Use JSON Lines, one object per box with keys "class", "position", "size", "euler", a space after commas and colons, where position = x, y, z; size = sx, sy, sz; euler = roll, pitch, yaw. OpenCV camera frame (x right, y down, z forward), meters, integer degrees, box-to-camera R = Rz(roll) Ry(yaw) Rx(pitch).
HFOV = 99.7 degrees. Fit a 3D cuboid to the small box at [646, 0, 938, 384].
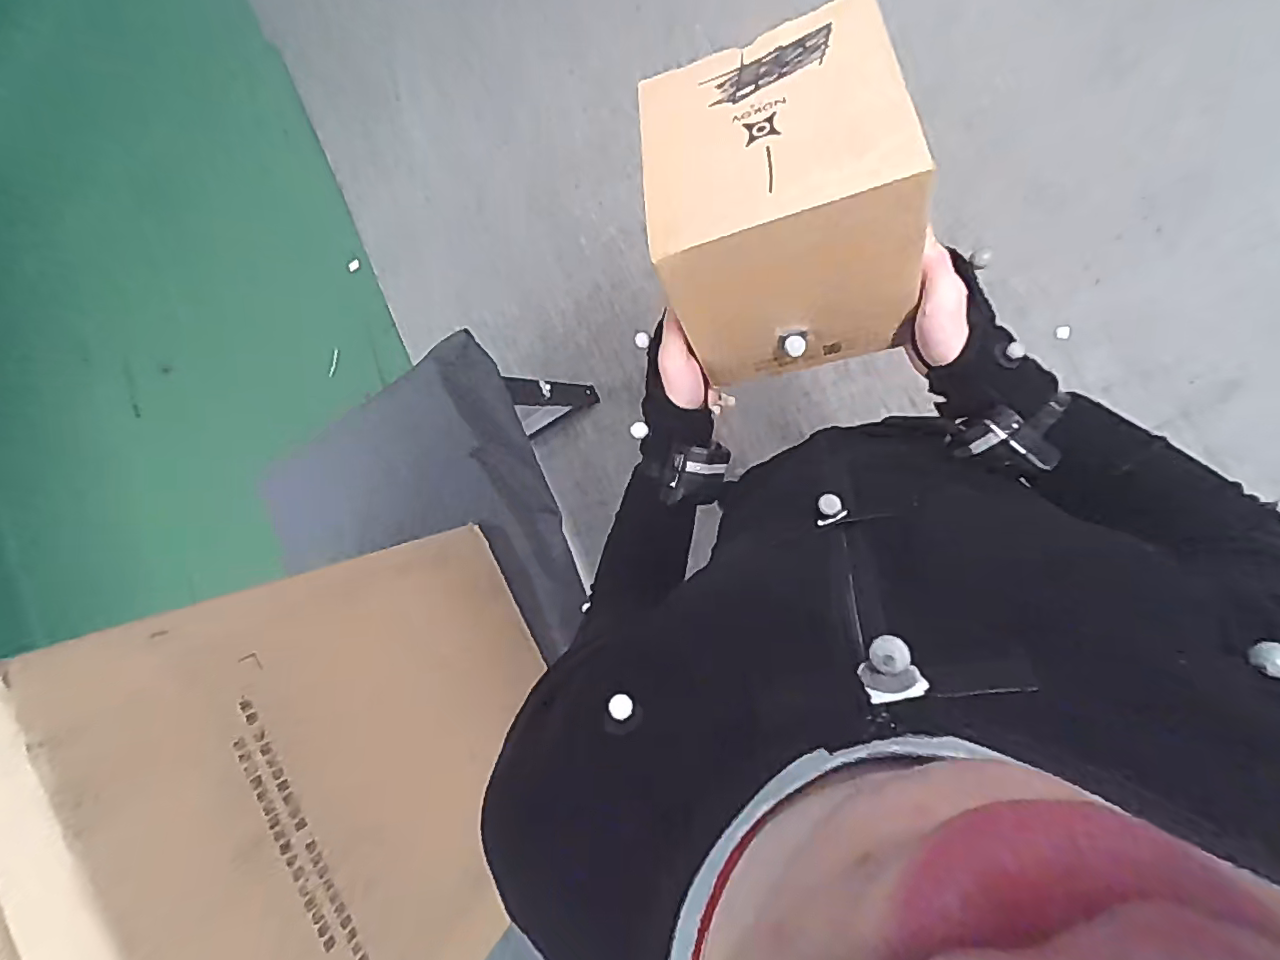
{"class": "small box", "position": [0.110, -0.202, 0.415], "size": [0.168, 0.176, 0.179], "euler": [-10, 67, 19]}
